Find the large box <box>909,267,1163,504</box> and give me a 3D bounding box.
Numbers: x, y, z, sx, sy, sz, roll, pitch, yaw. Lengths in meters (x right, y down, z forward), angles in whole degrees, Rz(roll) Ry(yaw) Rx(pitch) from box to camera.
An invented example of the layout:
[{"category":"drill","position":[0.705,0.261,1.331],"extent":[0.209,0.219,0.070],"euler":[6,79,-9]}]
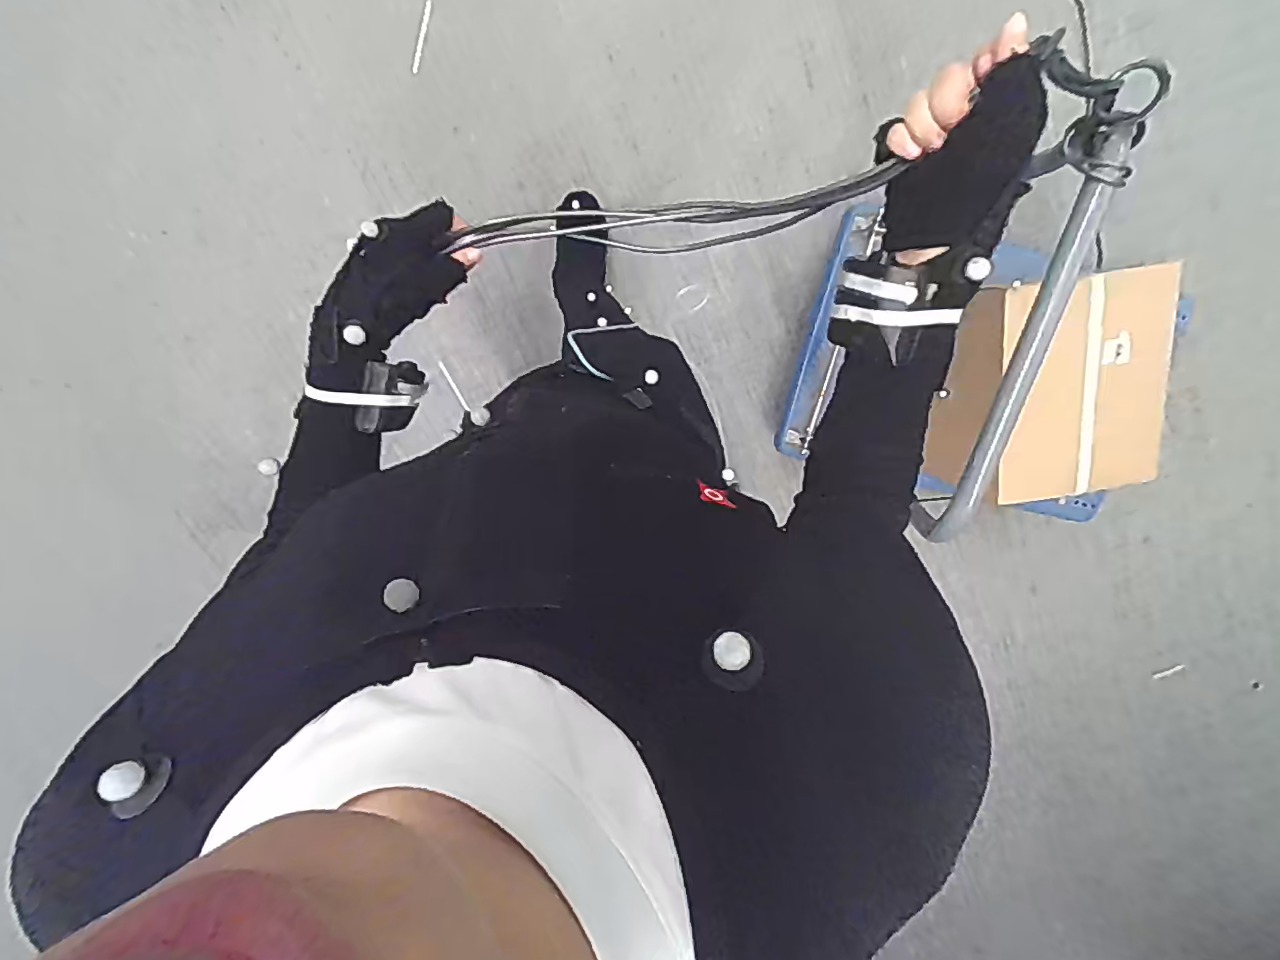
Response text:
[{"category":"large box","position":[0.800,-0.201,1.149],"extent":[0.320,0.320,0.408],"euler":[-9,105,-1]}]
